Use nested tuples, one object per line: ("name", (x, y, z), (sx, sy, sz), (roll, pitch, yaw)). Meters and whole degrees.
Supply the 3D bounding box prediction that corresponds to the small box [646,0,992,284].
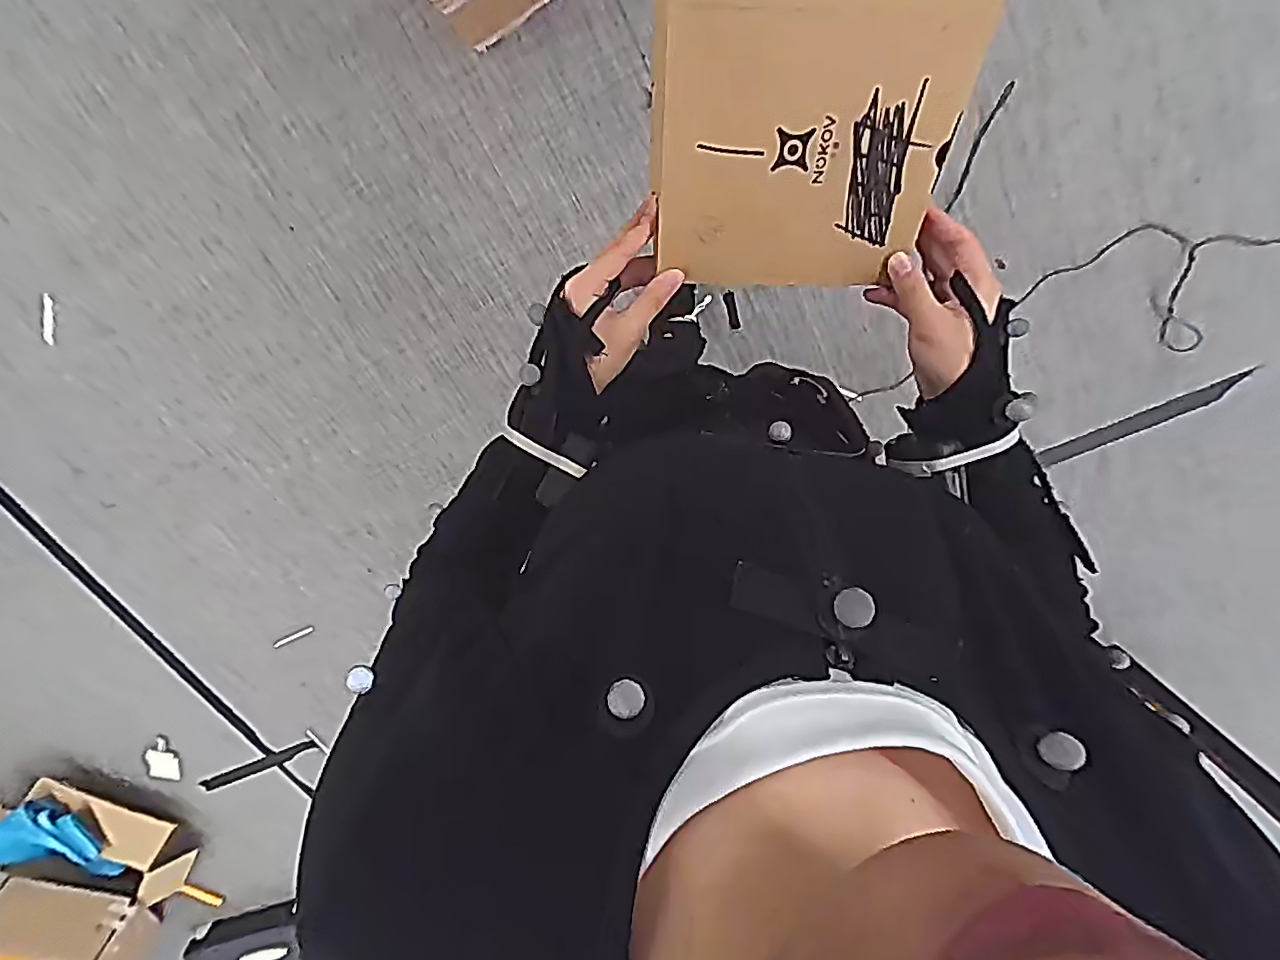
("small box", (0.095, -0.256, 0.388), (0.179, 0.176, 0.168), (0, 133, -1))
